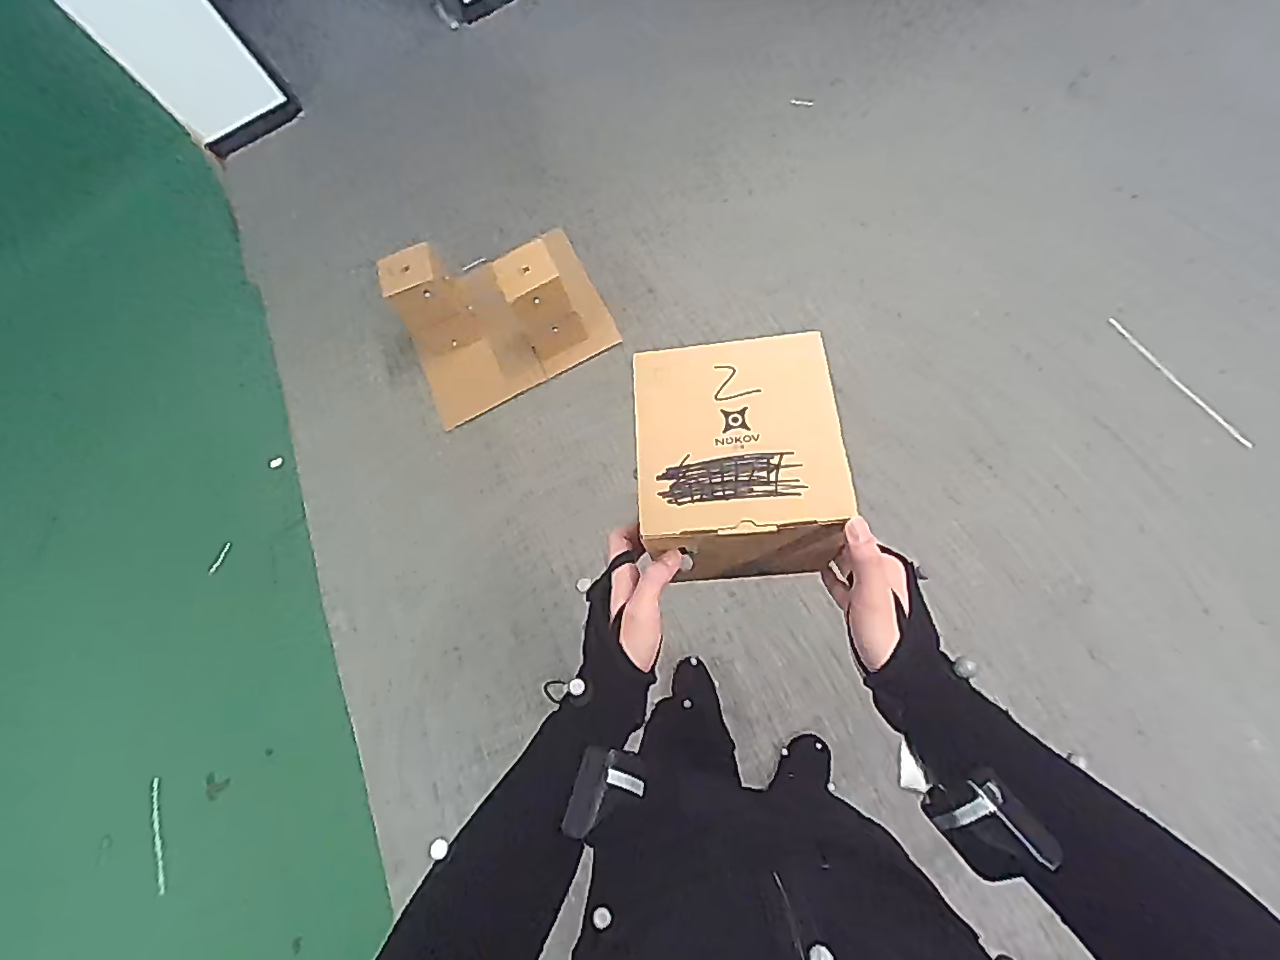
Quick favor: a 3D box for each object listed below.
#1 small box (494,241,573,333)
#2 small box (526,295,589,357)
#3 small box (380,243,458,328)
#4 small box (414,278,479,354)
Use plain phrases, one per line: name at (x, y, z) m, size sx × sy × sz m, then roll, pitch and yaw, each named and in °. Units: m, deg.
small box at (-0.323, -0.596, 1.687) m, size 0.179 × 0.176 × 0.168 m, roll -27°, pitch 68°, yaw 2°
small box at (-0.296, -0.549, 1.839) m, size 0.179 × 0.176 × 0.168 m, roll -26°, pitch 68°, yaw 2°
small box at (-0.716, -0.632, 1.771) m, size 0.179 × 0.176 × 0.168 m, roll -19°, pitch 67°, yaw 4°
small box at (-0.690, -0.581, 1.927) m, size 0.179 × 0.176 × 0.168 m, roll -19°, pitch 67°, yaw 4°
